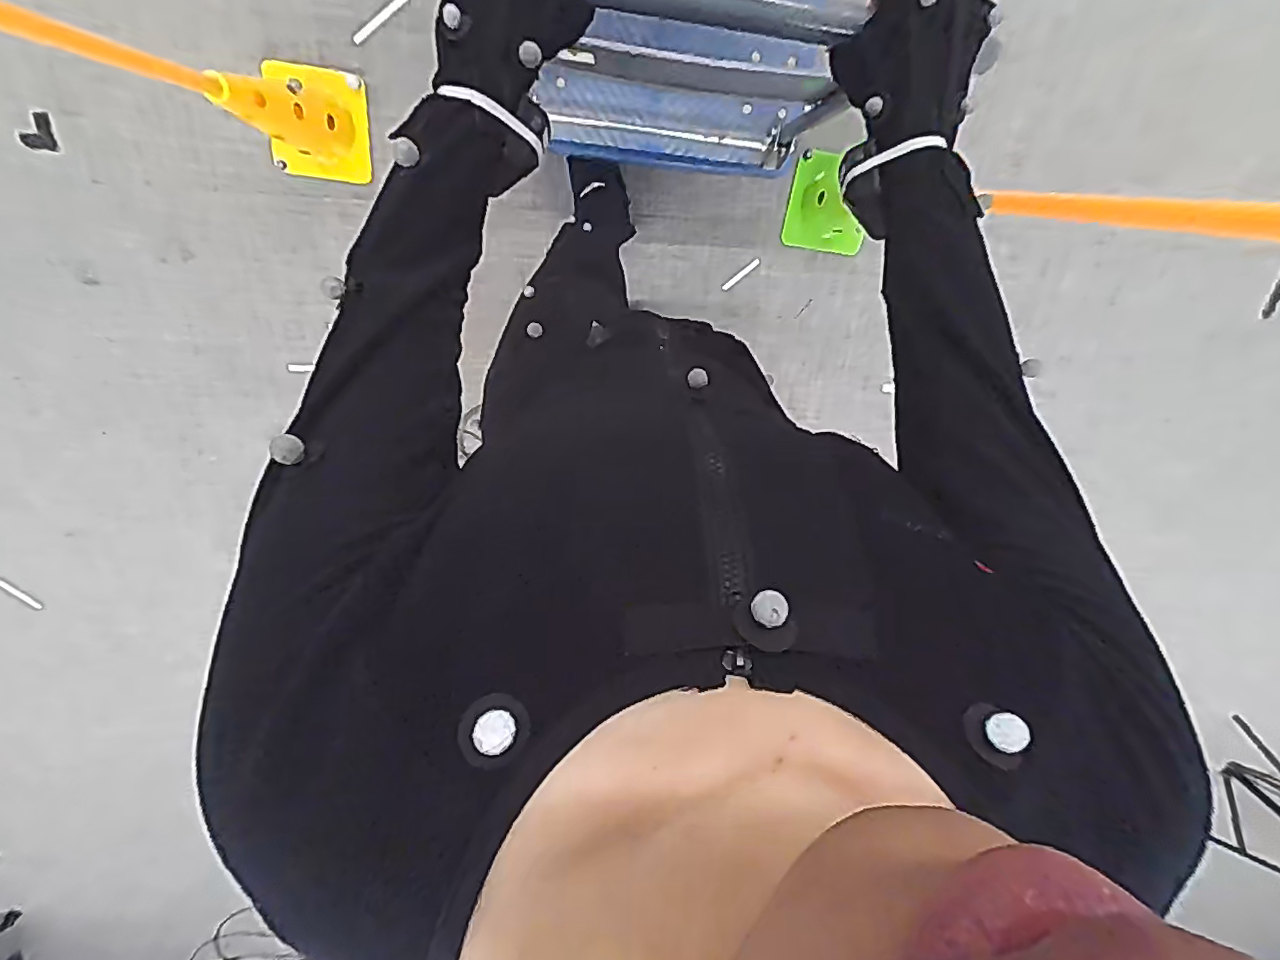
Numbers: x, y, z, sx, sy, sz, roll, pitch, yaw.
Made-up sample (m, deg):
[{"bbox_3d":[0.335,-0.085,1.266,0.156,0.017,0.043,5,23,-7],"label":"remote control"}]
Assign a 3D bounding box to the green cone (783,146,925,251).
[{"bbox_3d":[0.461,-0.579,1.110,0.202,0.368,0.200,5,115,-8],"label":"green cone"}]
